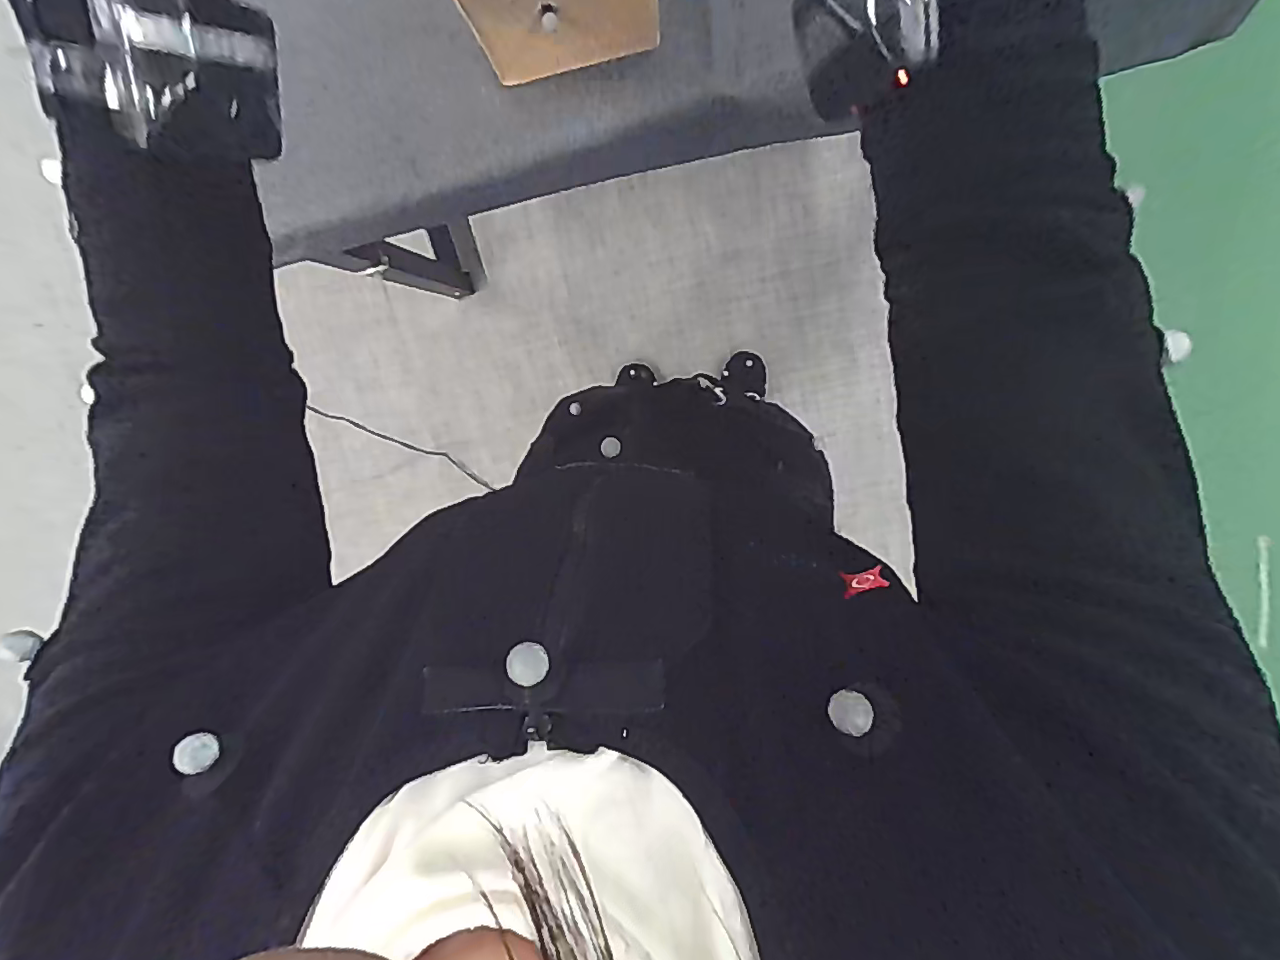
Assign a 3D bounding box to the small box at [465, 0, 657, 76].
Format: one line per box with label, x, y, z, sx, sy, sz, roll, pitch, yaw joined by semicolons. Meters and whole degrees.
small box;-0.085;-0.512;0.493;0.179;0.176;0.168;-10;101;5
